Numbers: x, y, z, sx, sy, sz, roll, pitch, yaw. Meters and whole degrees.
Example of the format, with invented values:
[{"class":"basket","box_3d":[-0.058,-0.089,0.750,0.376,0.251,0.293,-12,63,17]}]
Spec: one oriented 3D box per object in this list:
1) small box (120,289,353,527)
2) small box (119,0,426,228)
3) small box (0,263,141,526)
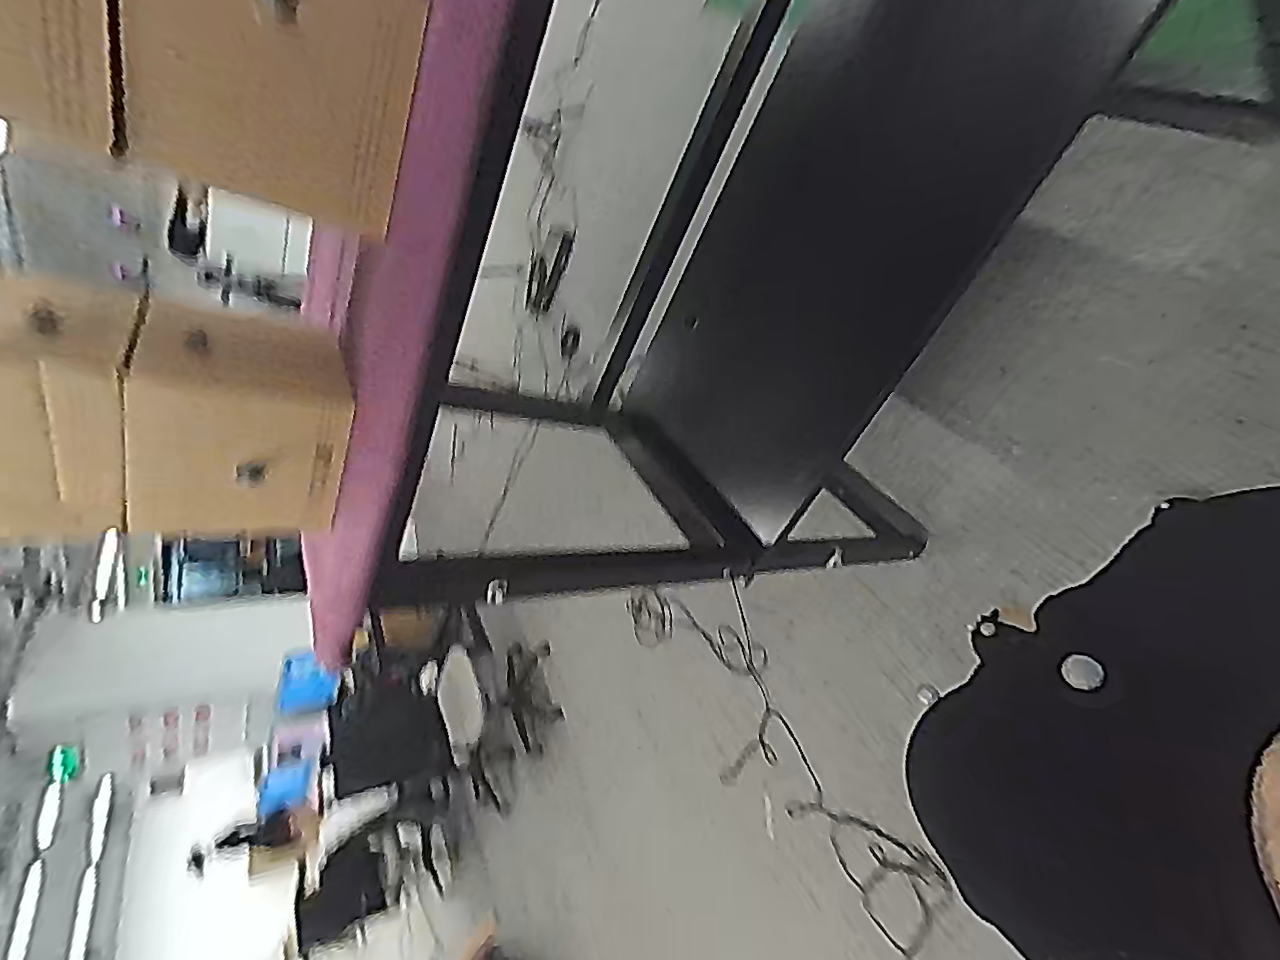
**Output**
[{"class":"small box","box_3d":[-0.408,-0.069,0.557,0.179,0.176,0.168,51,124,41]},{"class":"small box","box_3d":[-0.278,-0.329,0.421,0.168,0.176,0.179,51,126,41]},{"class":"small box","box_3d":[-0.536,-0.072,0.457,0.168,0.176,0.179,48,122,41]}]
